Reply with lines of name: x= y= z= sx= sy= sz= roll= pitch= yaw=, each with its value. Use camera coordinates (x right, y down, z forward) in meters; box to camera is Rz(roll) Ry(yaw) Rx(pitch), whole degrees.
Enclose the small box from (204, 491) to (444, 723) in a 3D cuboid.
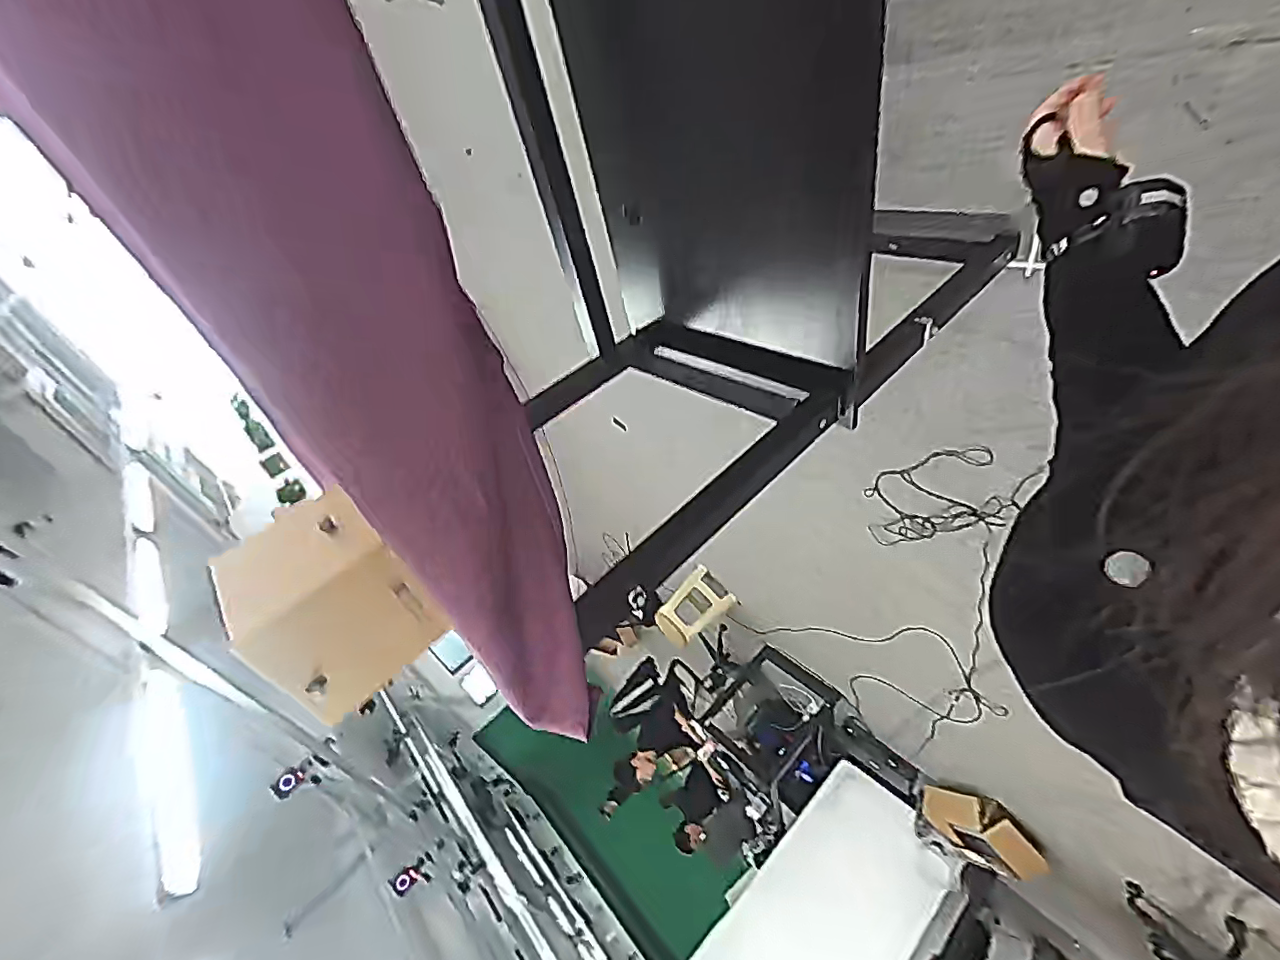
small box: x=-0.365 y=0.138 z=0.642 sx=0.179 sy=0.176 sz=0.168 roll=30 pitch=149 yaw=41
